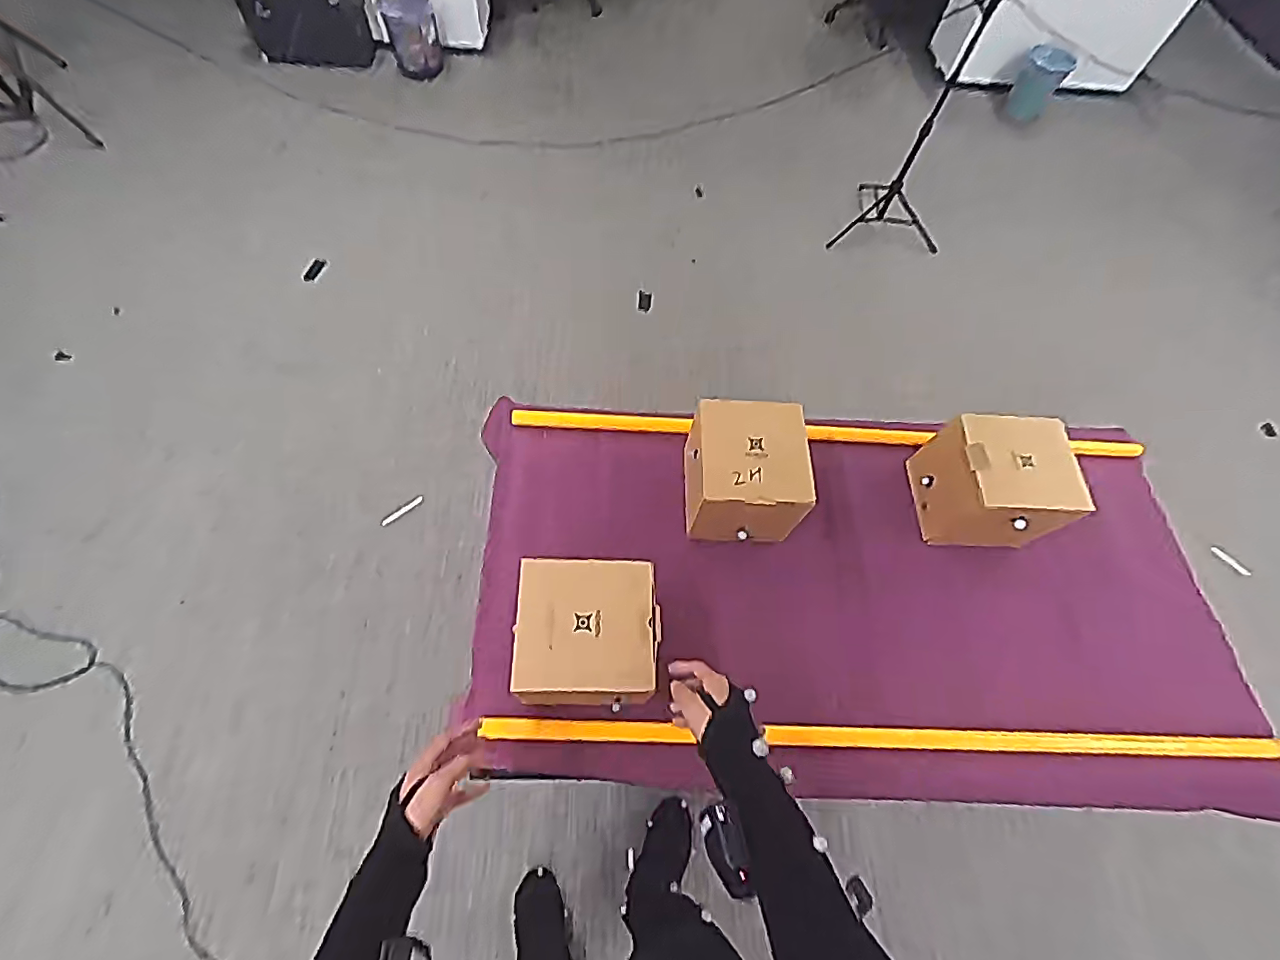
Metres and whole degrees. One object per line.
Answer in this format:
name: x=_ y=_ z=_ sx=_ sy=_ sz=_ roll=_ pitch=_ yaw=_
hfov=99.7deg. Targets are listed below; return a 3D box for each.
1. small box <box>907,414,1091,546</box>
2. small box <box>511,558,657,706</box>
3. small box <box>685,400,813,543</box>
small box: x=0.588 y=0.007 z=0.912 sx=0.179 sy=0.176 sz=0.168 roll=2 pitch=64 yaw=-3
small box: x=-0.075 y=0.216 z=0.750 sx=0.179 sy=0.176 sz=0.168 roll=2 pitch=62 yaw=-6
small box: x=0.166 y=-0.009 z=0.888 sx=0.168 sy=0.176 sz=0.179 roll=2 pitch=64 yaw=-3
